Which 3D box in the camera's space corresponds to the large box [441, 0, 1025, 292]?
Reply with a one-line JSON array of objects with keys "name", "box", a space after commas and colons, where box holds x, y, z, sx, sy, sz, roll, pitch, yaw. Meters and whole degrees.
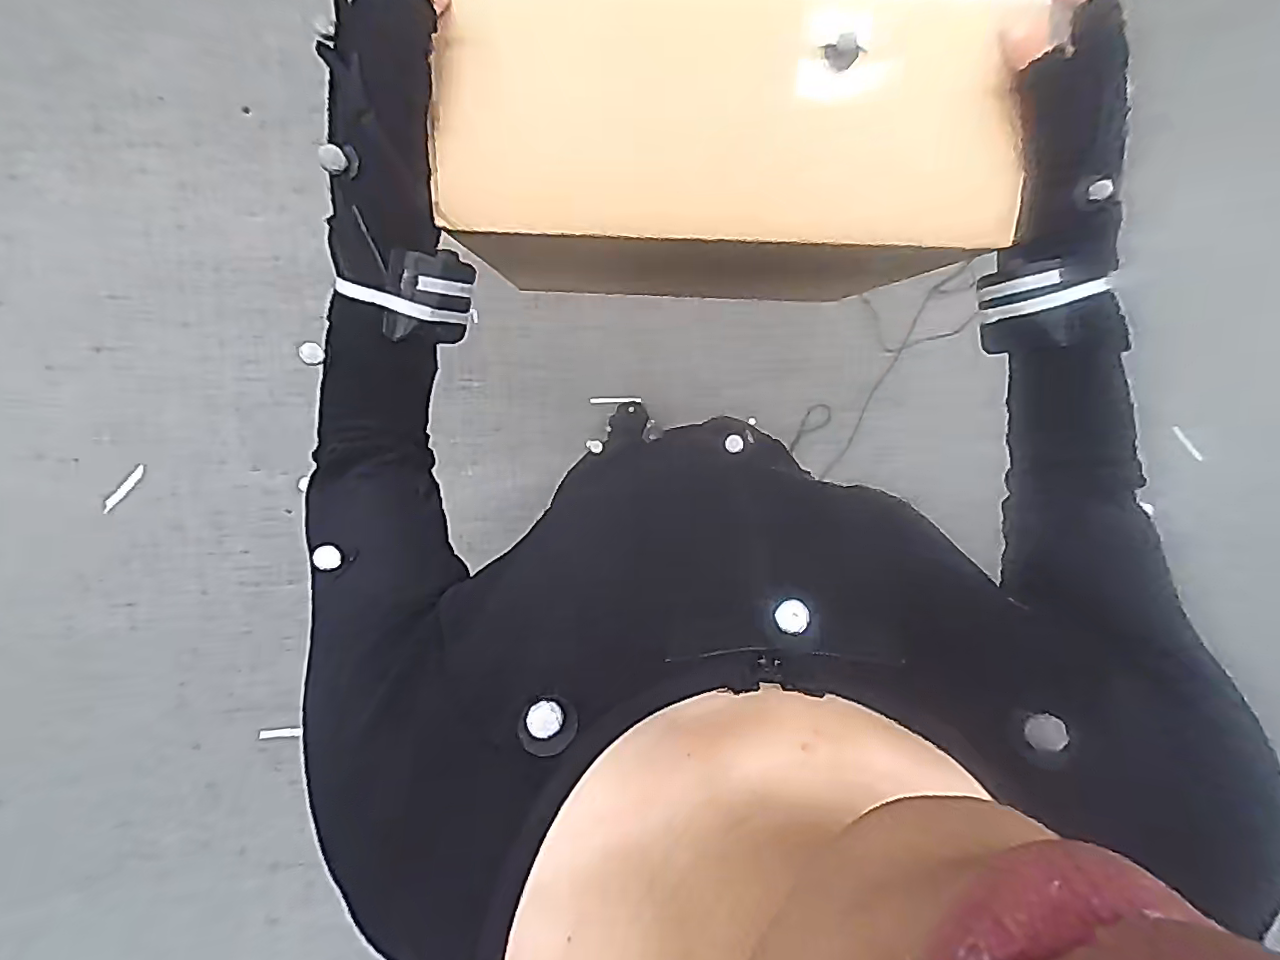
[{"name": "large box", "box": [0.057, -0.361, 0.507, 0.408, 0.320, 0.320, 1, 102, -3]}]
